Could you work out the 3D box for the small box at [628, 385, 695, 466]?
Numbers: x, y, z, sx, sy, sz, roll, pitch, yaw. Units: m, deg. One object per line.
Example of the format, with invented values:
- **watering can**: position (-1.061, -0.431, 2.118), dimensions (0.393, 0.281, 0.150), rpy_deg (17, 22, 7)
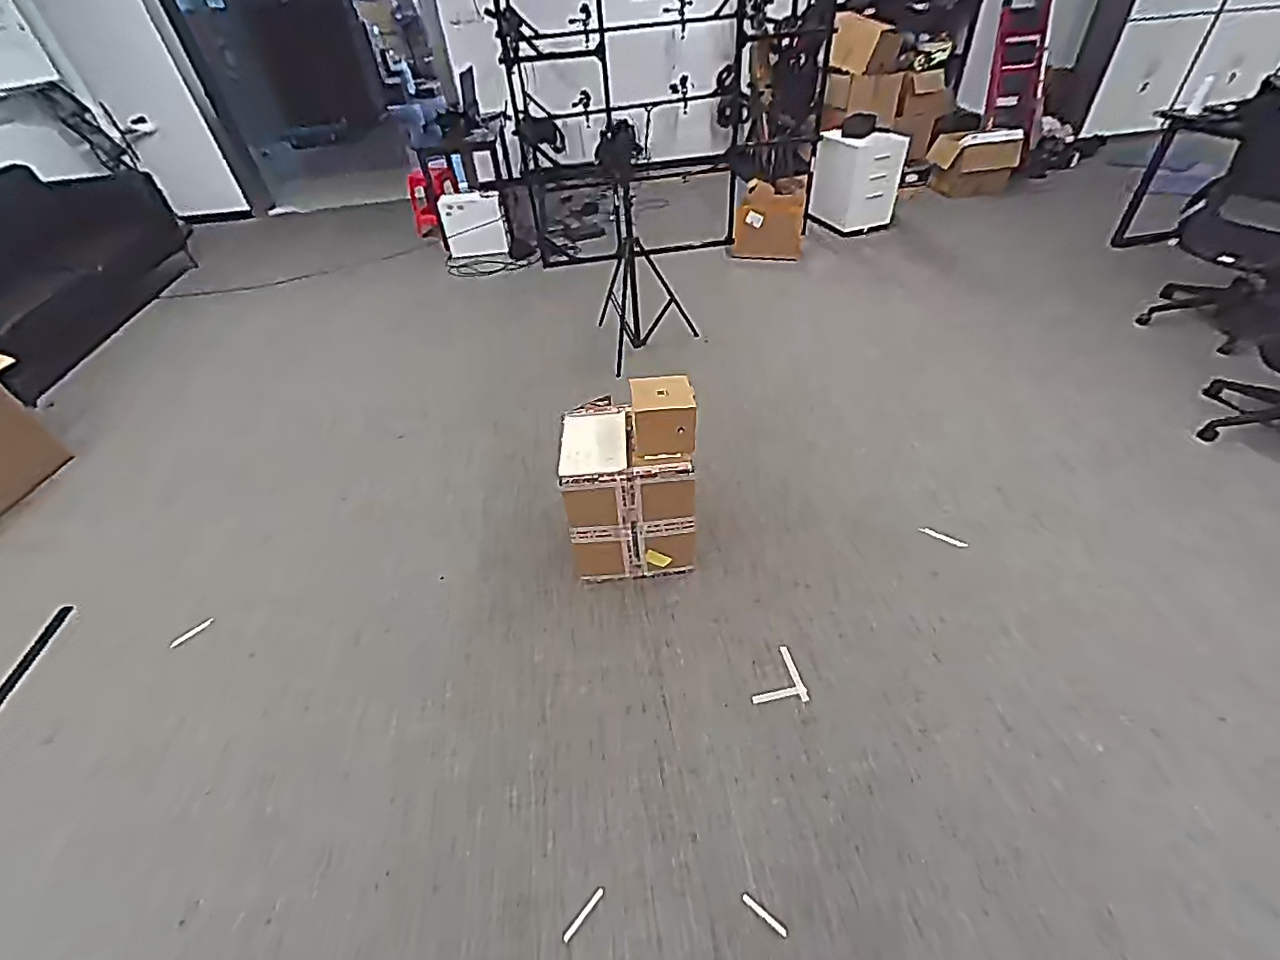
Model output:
- **small box**: position (0.059, -0.157, 1.580), dimensions (0.179, 0.176, 0.168), rpy_deg (-6, 44, -3)
